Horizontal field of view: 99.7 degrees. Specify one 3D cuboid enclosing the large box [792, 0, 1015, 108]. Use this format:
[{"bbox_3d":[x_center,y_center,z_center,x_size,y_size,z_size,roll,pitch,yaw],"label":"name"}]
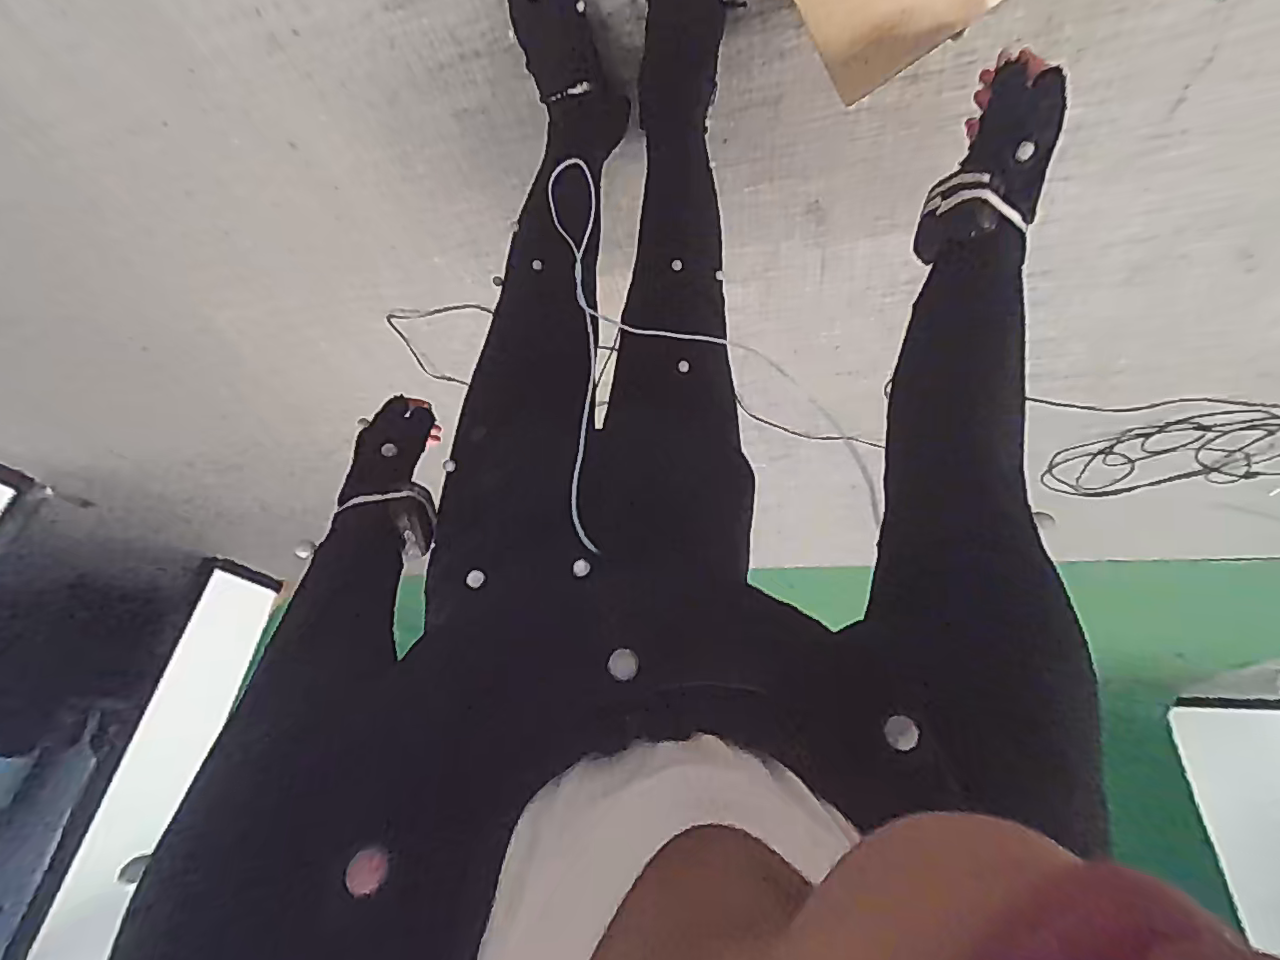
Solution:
[{"bbox_3d":[0.255,-0.698,0.516,0.320,0.320,0.408,-21,140,37],"label":"large box"}]
